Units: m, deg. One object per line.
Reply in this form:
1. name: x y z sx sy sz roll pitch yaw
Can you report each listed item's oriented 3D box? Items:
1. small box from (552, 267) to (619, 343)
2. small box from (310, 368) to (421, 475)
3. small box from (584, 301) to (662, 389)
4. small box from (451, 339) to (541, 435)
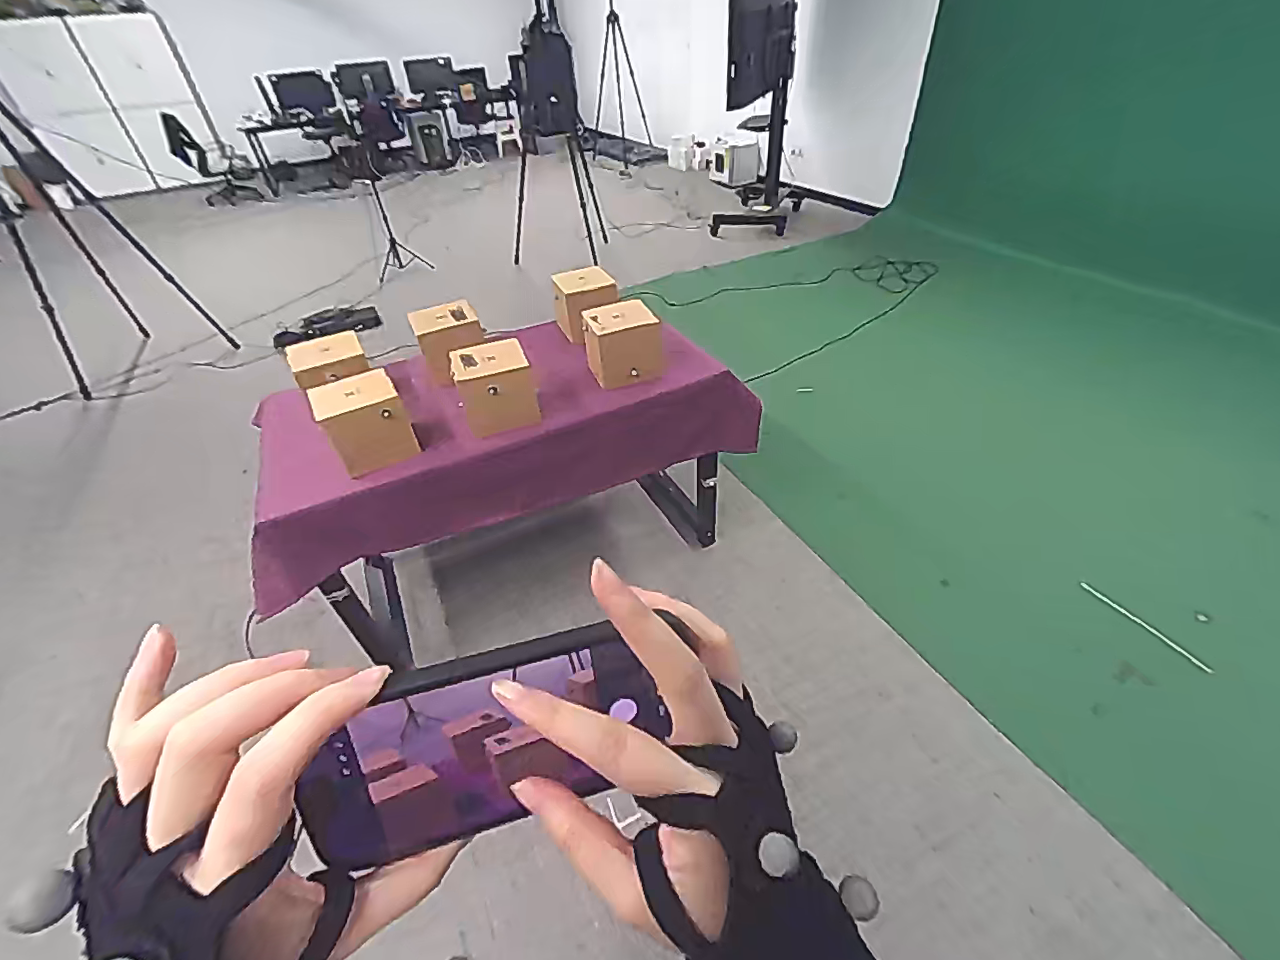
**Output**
1. small box: -0.172 -0.559 1.729 0.168 0.176 0.179 -18 43 -15
2. small box: -0.649 -0.138 1.288 0.179 0.176 0.168 -24 44 -23
3. small box: -0.048 -0.375 1.508 0.179 0.176 0.168 -15 42 -13
4. small box: -0.363 -0.234 1.373 0.179 0.176 0.168 -15 42 -14
